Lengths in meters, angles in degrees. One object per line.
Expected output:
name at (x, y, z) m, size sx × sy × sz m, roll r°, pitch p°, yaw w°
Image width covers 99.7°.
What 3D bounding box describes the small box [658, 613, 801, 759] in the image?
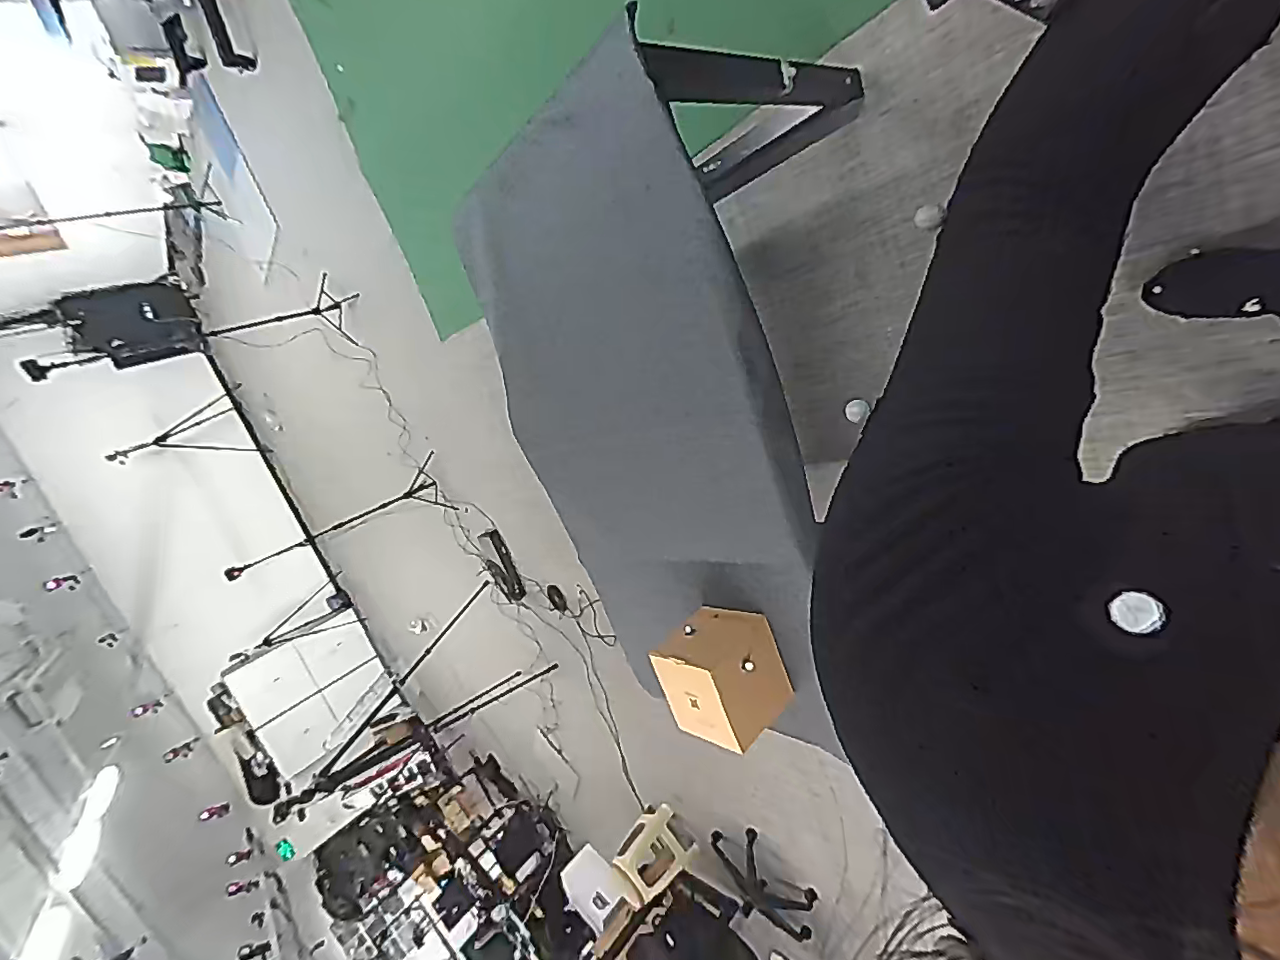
small box at (0.168, 0.368, 1.006) m, size 0.168 × 0.176 × 0.179 m, roll -8°, pitch 108°, yaw 53°
